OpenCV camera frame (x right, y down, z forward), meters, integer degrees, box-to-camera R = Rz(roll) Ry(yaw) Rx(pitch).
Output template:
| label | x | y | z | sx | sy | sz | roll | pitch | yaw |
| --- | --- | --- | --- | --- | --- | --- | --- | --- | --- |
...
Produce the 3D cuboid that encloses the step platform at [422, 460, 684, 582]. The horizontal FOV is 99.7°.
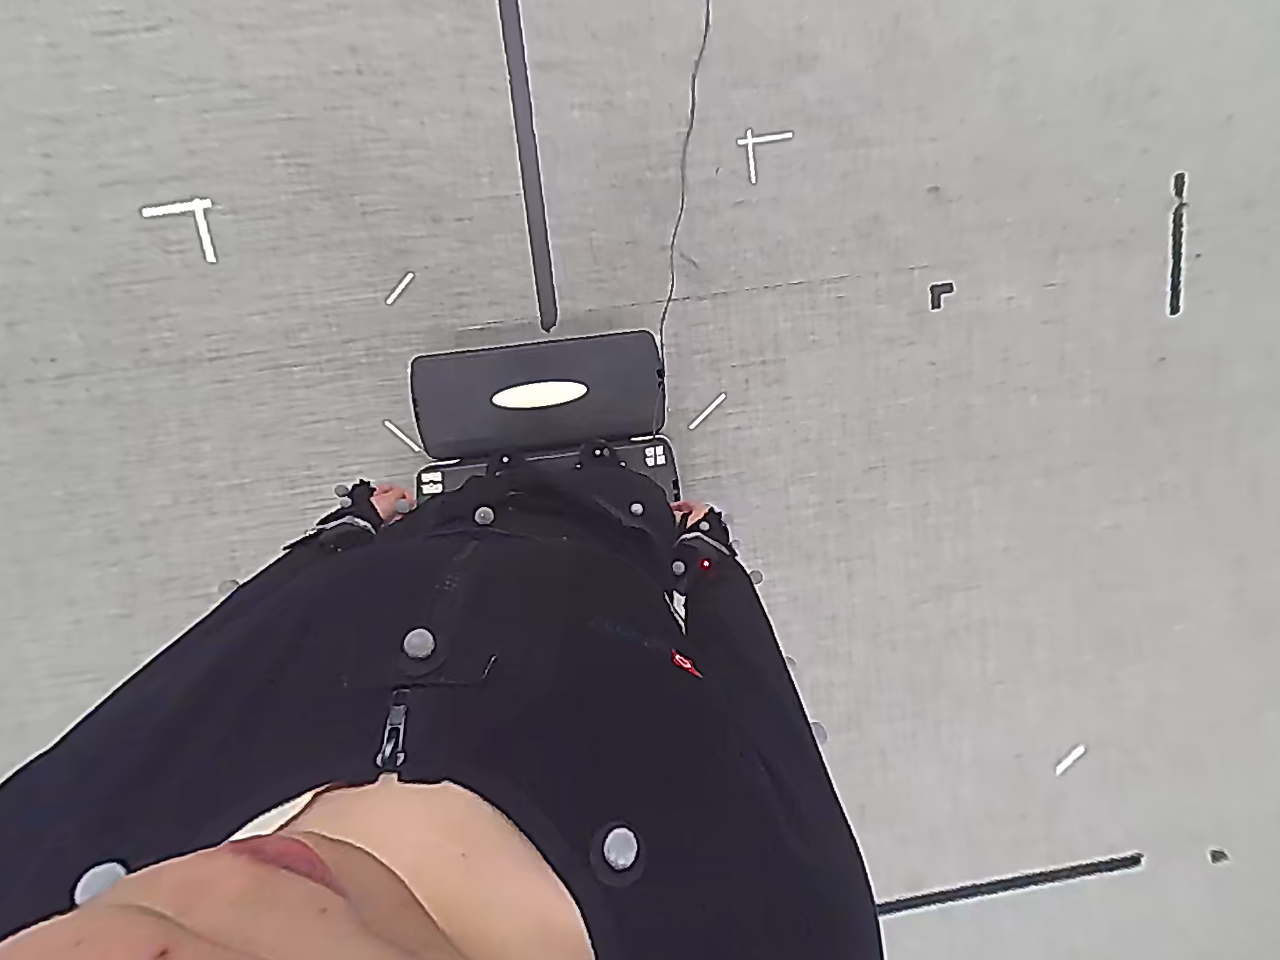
| label | x | y | z | sx | sy | sz | roll | pitch | yaw |
| --- | --- | --- | --- | --- | --- | --- | --- | --- | --- |
| step platform | -0.223 | 0.106 | 1.461 | 0.684 | 0.204 | 0.286 | -3 | 95 | -2 |
